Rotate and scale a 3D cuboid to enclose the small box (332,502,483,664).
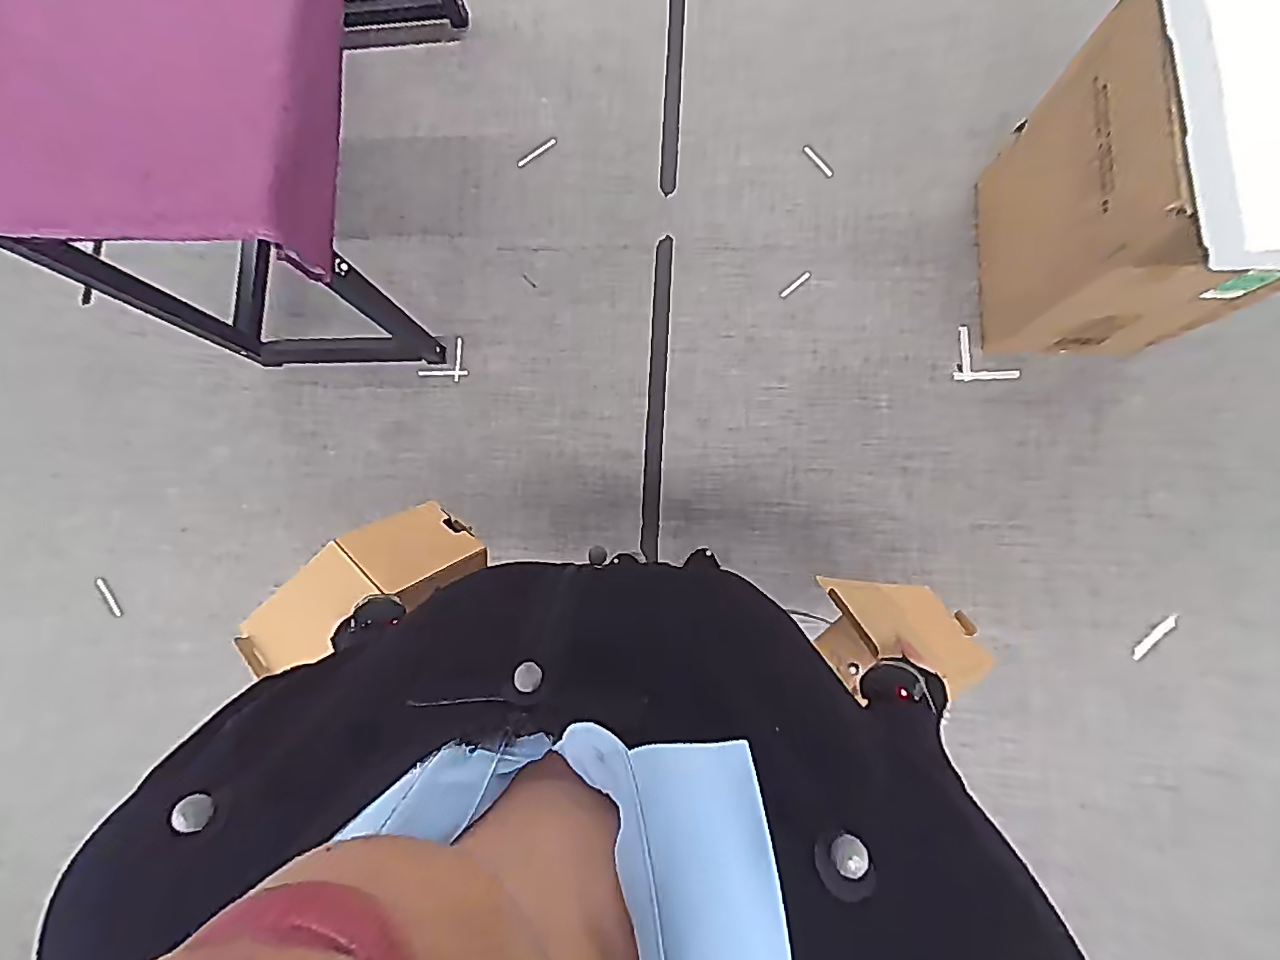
[{"bbox_3d":[-0.379,0.171,0.908,0.168,0.179,0.176,33,130,28],"label":"small box"}]
